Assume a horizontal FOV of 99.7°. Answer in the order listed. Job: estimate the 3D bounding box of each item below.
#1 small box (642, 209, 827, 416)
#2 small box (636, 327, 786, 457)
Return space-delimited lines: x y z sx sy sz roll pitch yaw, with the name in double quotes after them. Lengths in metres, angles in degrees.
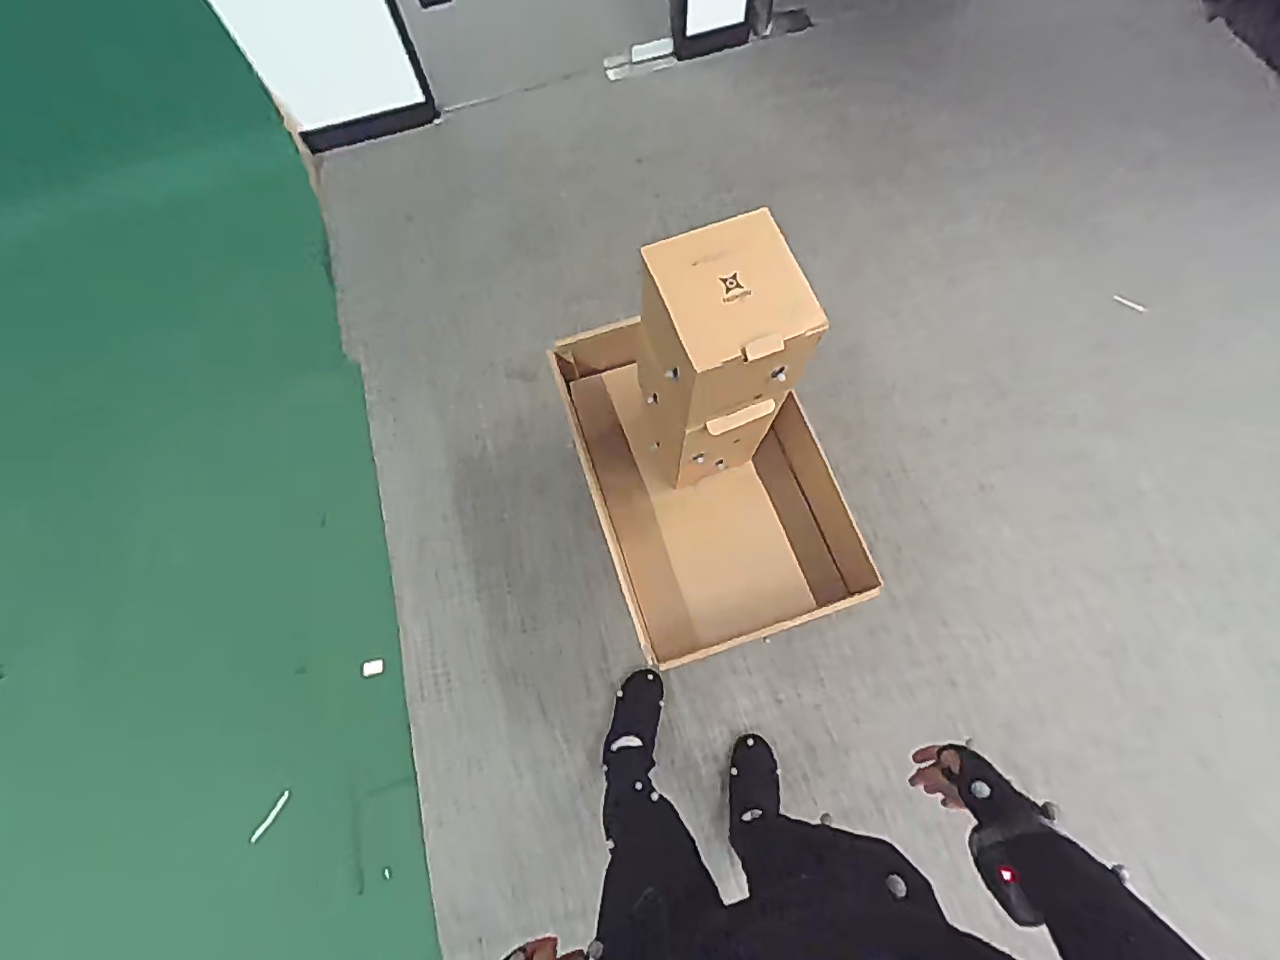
0.108 -0.198 0.694 0.168 0.176 0.179 -19 74 -6 "small box"
0.103 -0.151 0.850 0.168 0.176 0.179 -23 74 -6 "small box"
